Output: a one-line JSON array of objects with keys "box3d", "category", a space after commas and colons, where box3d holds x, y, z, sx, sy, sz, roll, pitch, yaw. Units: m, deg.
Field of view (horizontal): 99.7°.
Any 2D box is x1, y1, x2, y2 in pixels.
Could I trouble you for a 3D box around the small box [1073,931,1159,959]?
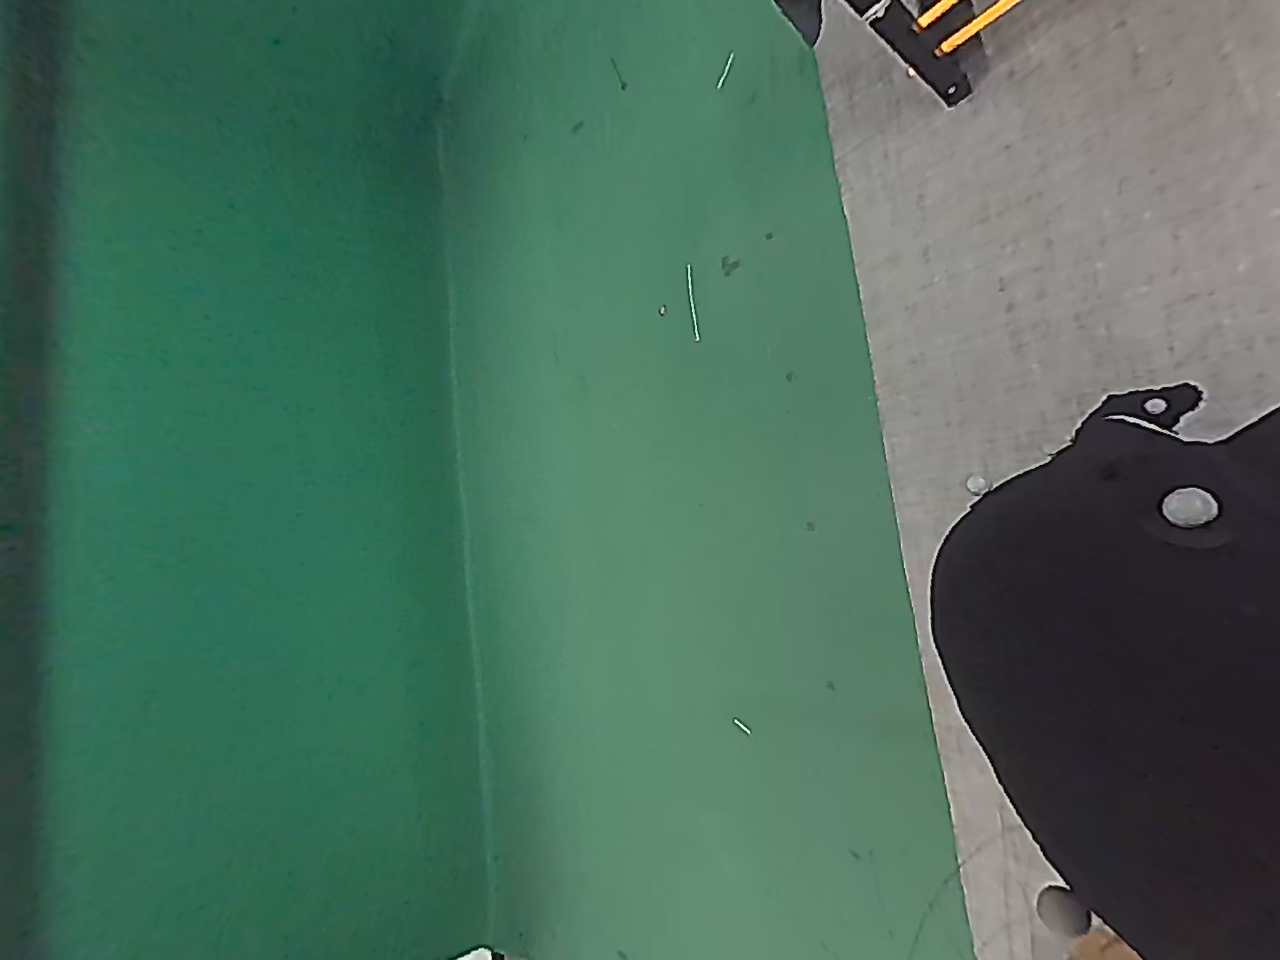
[{"box3d": [0.980, 1.062, 1.076, 0.168, 0.176, 0.179, -12, 81, 50], "category": "small box"}]
